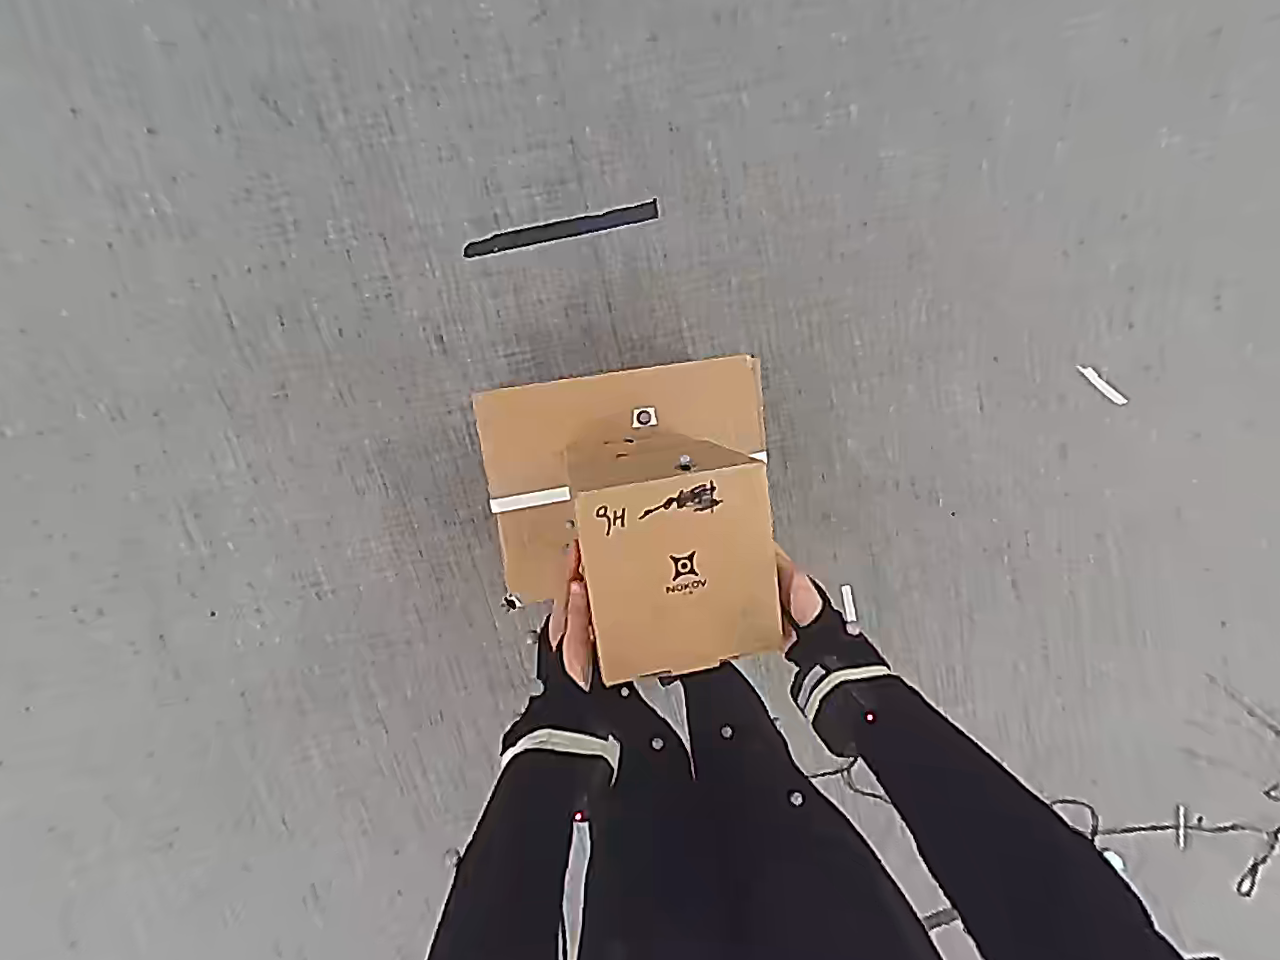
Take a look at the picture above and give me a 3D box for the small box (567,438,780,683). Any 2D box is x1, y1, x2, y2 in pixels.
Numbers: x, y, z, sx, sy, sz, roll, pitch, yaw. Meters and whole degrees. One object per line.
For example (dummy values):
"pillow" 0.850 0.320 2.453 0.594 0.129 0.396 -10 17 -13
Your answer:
"small box" 0.024 0.064 0.535 0.168 0.176 0.179 -10 103 -10
